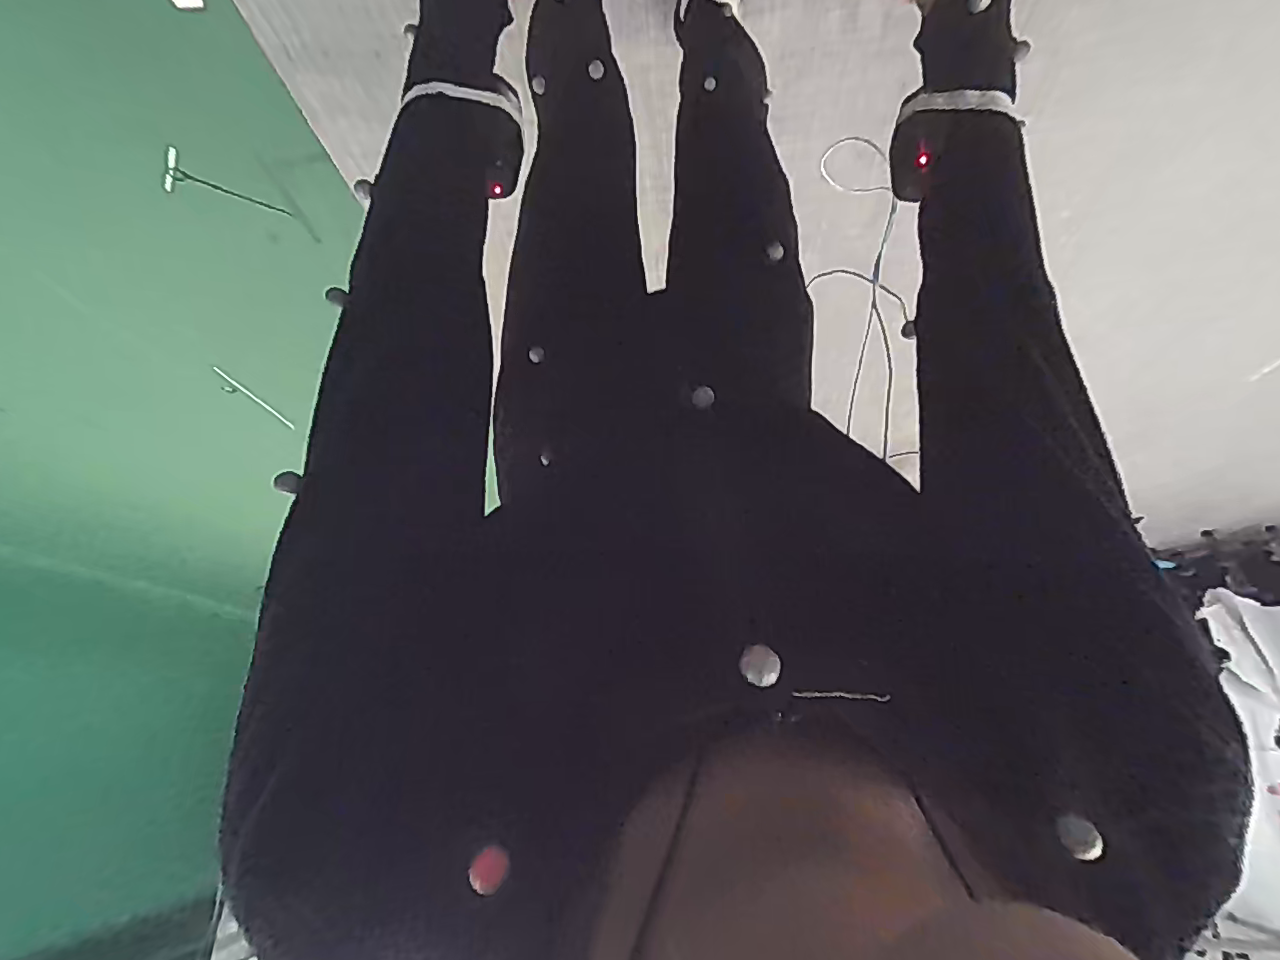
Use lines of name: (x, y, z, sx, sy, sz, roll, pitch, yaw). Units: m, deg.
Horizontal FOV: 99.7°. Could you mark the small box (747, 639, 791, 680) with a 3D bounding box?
small box: (0.612, 0.861, 2.587, 0.179, 0.176, 0.168, -3, 156, 3)
